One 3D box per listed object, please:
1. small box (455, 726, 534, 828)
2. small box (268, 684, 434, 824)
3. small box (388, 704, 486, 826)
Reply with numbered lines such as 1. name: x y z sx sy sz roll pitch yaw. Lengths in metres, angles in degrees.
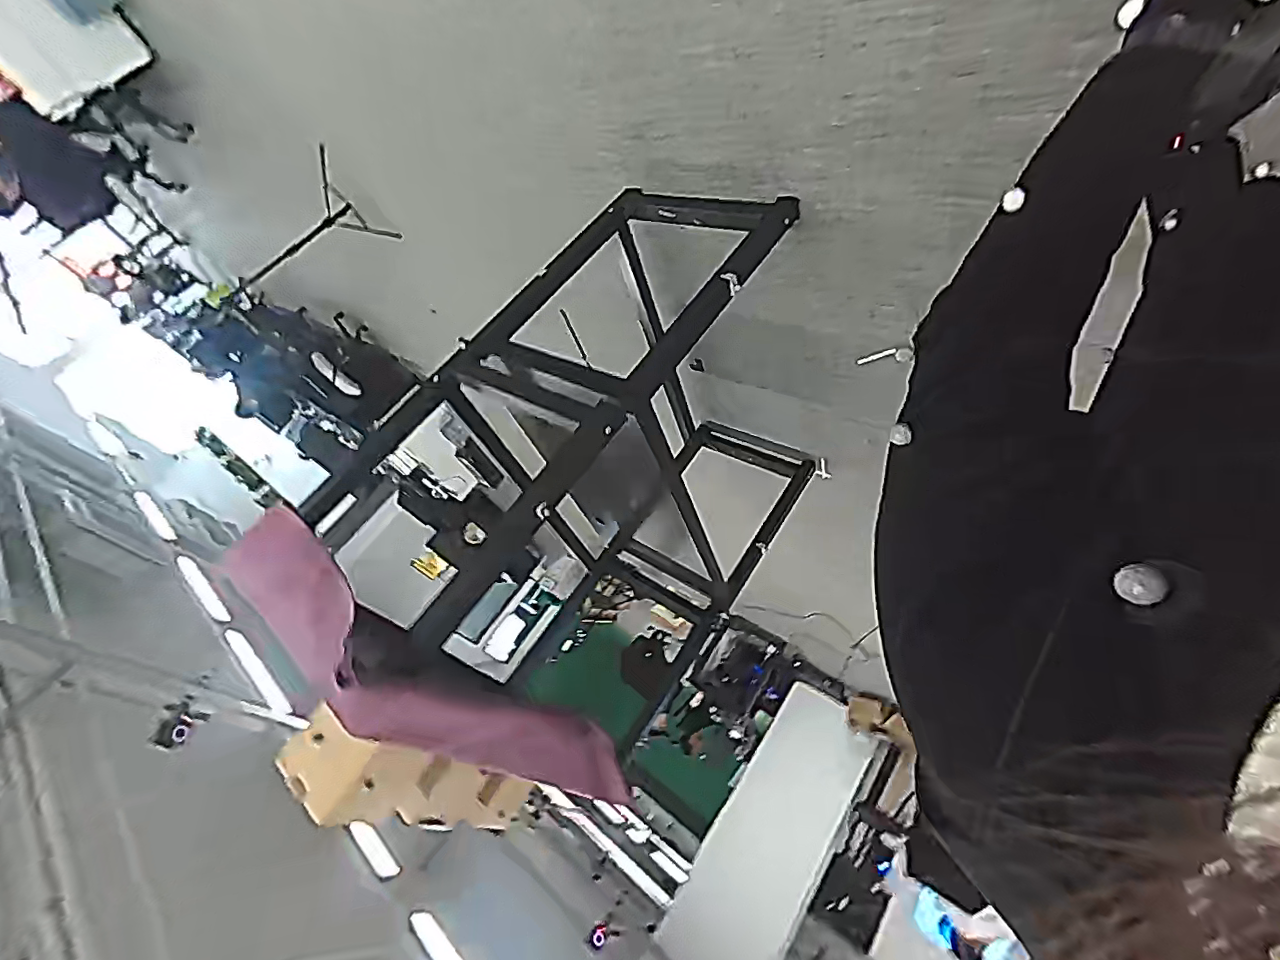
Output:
1. small box: -0.411 0.780 1.426 0.168 0.176 0.179 26 158 29
2. small box: -0.531 0.508 1.012 0.168 0.176 0.179 28 160 29
3. small box: -0.475 0.640 1.219 0.179 0.176 0.168 26 158 33
